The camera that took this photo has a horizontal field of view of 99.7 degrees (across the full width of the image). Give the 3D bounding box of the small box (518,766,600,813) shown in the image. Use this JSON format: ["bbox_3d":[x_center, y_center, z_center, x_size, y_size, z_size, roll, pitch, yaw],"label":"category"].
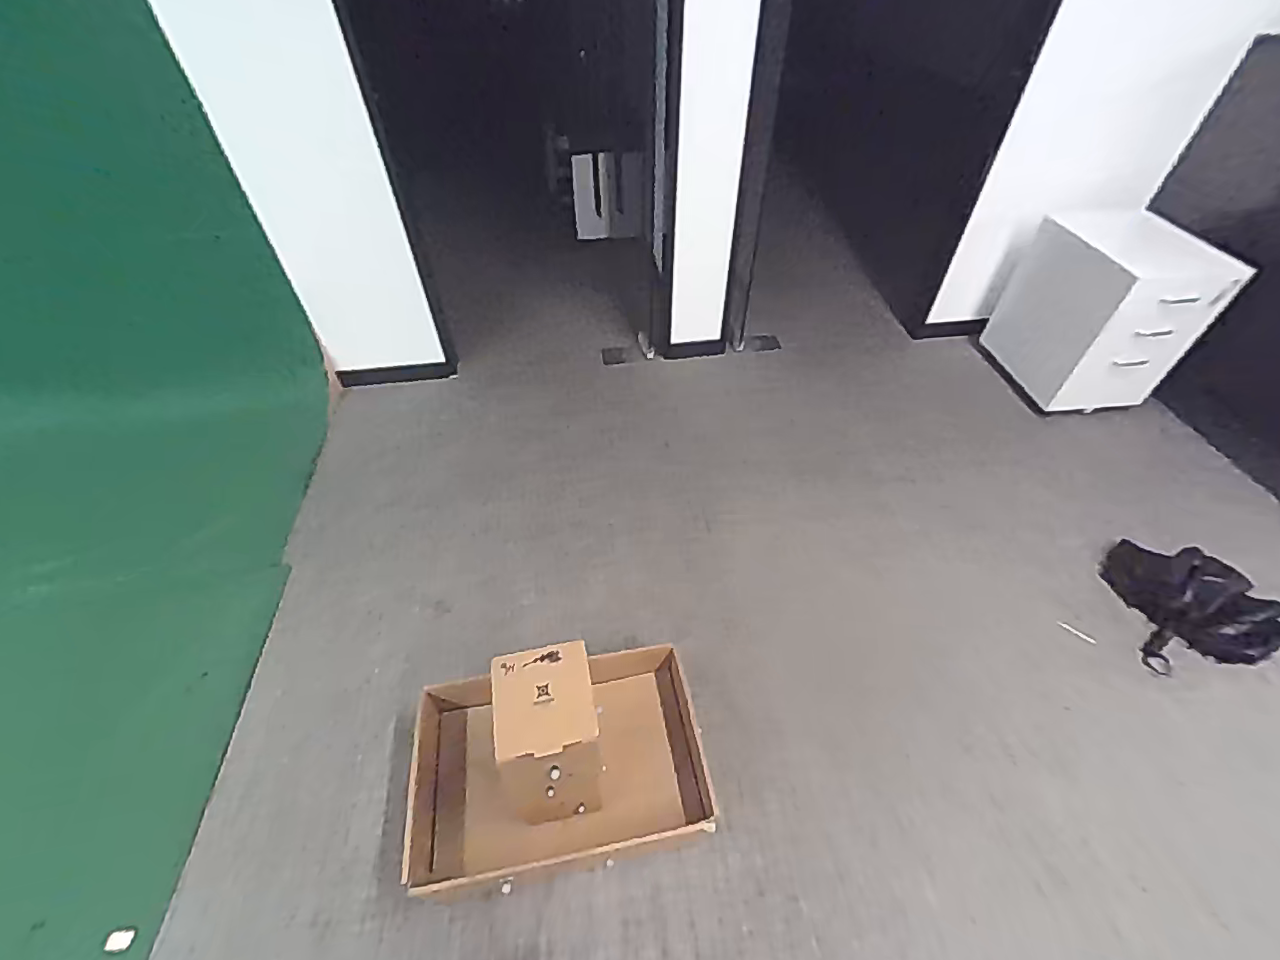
[{"bbox_3d":[-0.183,0.625,1.212,0.168,0.176,0.179,-7,46,-8],"label":"small box"}]

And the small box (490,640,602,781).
[{"bbox_3d":[-0.168,0.422,0.980,0.168,0.176,0.179,-11,48,-10],"label":"small box"}]

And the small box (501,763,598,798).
[{"bbox_3d":[-0.180,0.528,1.101,0.179,0.176,0.168,-7,47,-6],"label":"small box"}]
